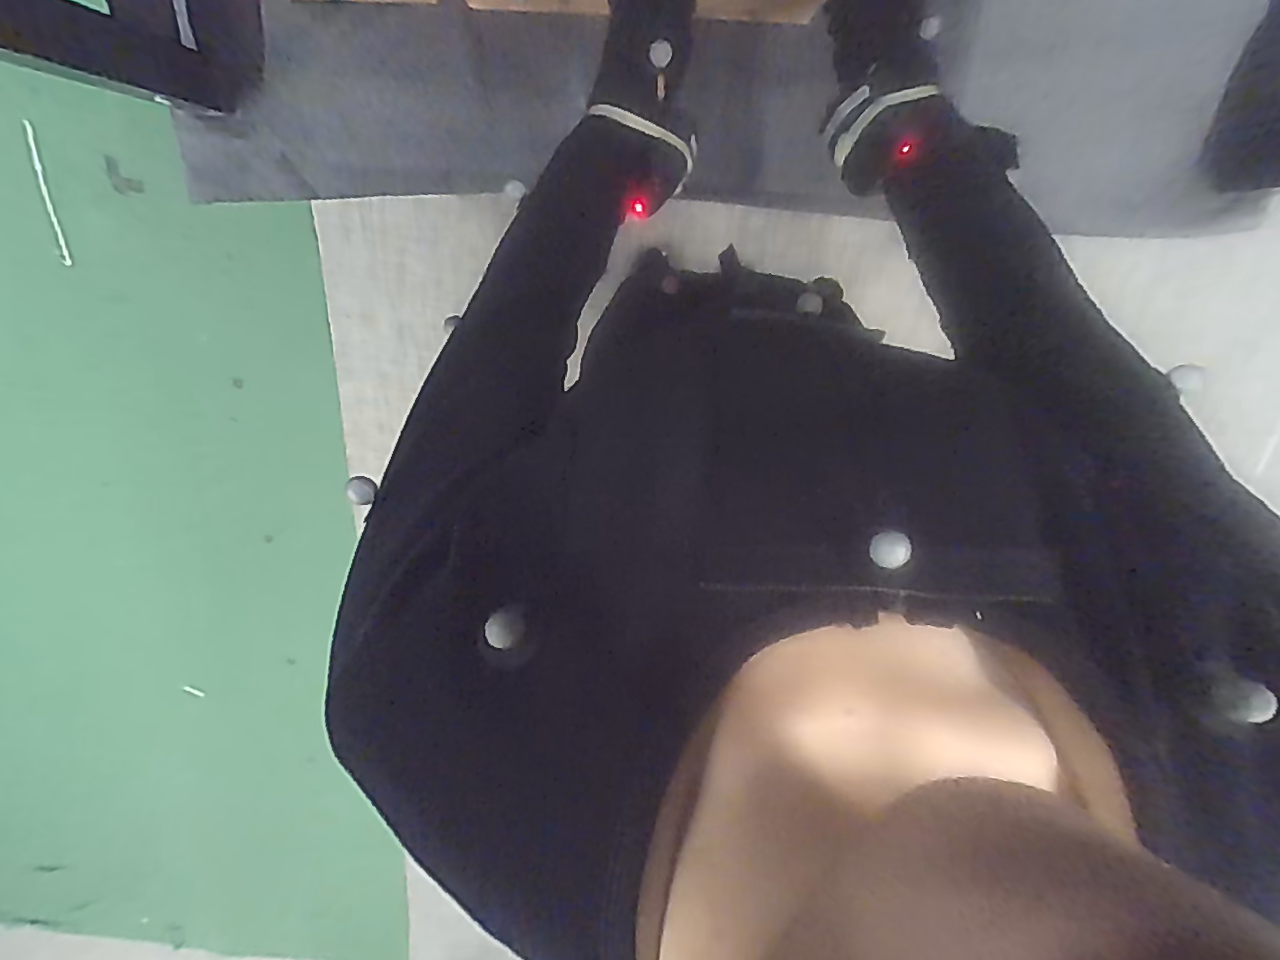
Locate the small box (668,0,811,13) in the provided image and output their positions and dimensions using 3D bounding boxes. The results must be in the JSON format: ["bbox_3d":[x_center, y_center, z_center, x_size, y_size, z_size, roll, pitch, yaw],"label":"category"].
[{"bbox_3d":[0.088,-0.517,0.436,0.168,0.176,0.179,4,112,2],"label":"small box"}]

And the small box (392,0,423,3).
[{"bbox_3d":[-0.285,-0.542,0.445,0.168,0.176,0.179,3,113,2],"label":"small box"}]
